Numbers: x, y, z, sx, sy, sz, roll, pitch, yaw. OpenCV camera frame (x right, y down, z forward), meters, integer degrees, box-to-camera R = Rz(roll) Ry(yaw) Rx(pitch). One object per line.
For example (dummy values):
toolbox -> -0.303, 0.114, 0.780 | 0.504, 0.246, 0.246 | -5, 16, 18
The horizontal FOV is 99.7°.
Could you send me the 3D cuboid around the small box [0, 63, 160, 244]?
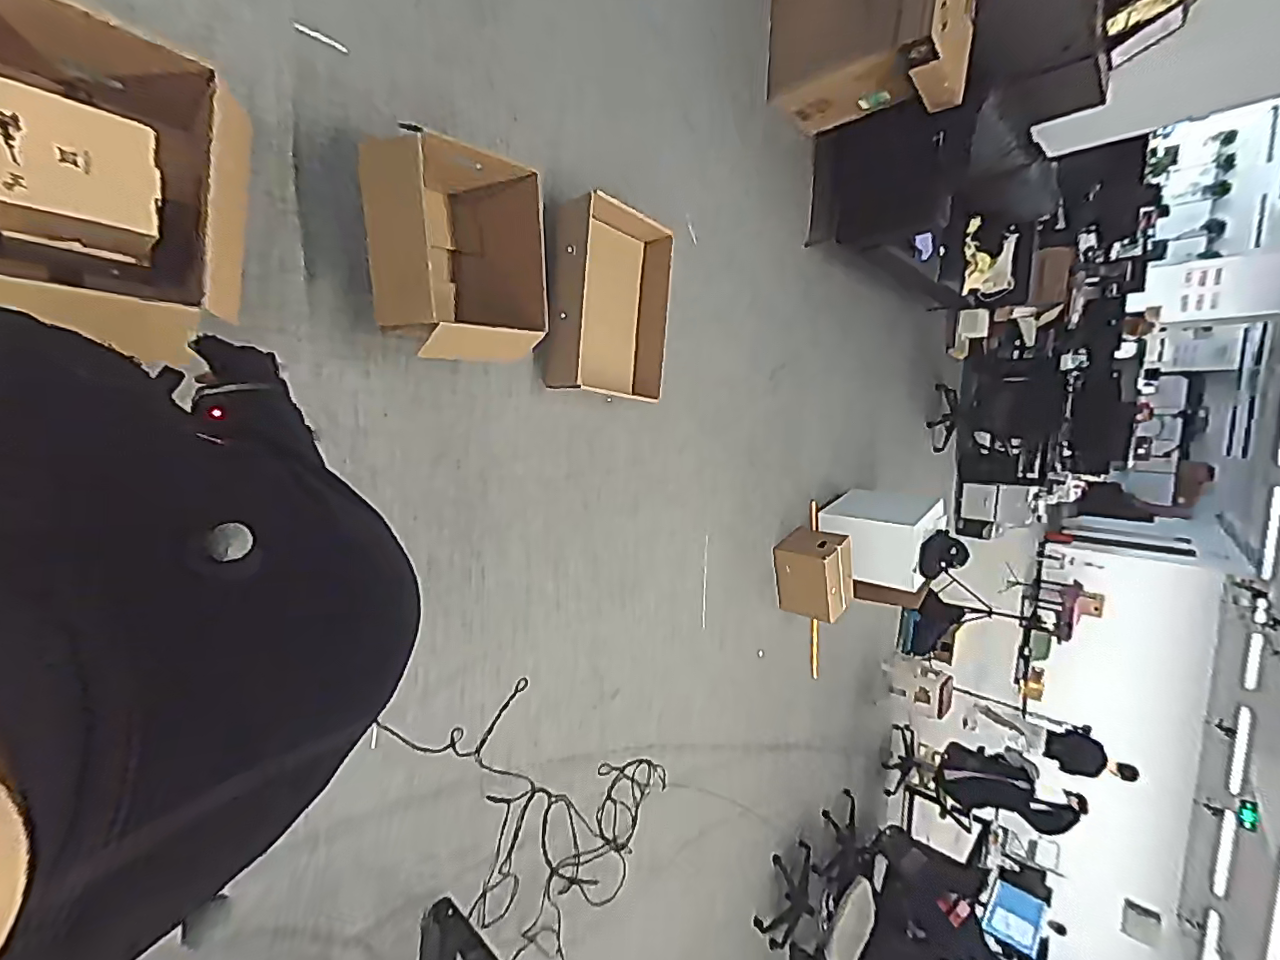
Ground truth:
small box -> -0.869, -0.478, 0.828 | 0.179, 0.176, 0.168 | -2, 95, -50
